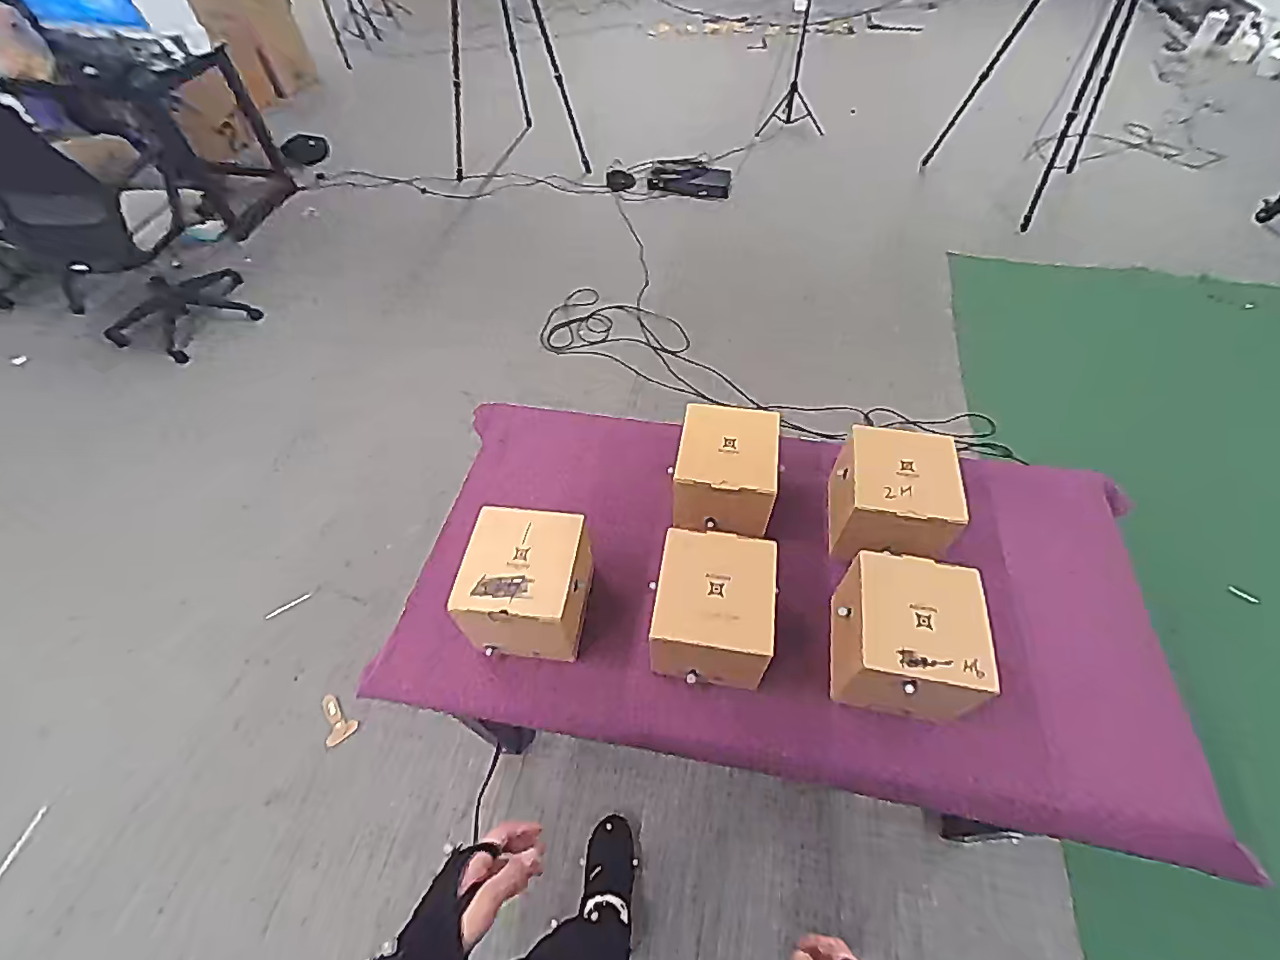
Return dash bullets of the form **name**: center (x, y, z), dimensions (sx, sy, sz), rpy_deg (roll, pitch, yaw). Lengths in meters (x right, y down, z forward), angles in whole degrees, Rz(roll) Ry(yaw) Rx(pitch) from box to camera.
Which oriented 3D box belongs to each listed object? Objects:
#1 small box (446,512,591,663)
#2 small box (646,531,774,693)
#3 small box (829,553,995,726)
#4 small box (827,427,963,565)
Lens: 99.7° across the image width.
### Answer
- **small box**: center (-0.178, 0.174, 0.859), dimensions (0.168, 0.176, 0.179), rpy_deg (5, 52, 6)
- **small box**: center (0.105, 0.203, 0.827), dimensions (0.168, 0.176, 0.179), rpy_deg (7, 55, 9)
- **small box**: center (0.378, 0.234, 0.787), dimensions (0.168, 0.176, 0.179), rpy_deg (8, 54, 9)
- **small box**: center (0.423, 0.036, 0.930), dimensions (0.168, 0.176, 0.179), rpy_deg (8, 55, 9)
